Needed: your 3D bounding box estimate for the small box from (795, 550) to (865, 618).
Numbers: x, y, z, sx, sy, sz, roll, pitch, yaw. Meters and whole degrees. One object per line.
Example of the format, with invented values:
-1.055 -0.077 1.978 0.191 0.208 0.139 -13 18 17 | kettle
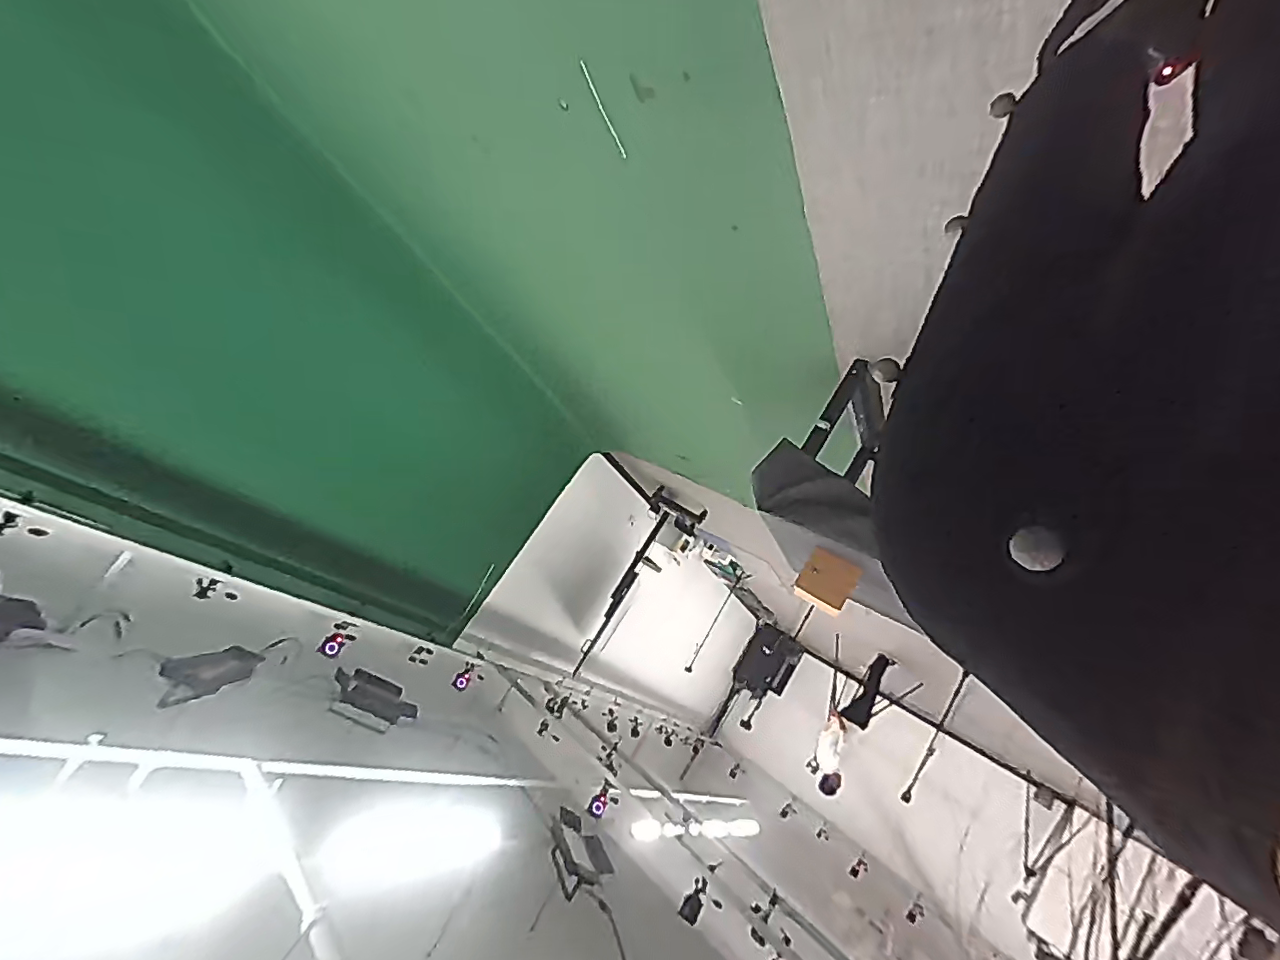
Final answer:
0.675 0.365 1.932 0.179 0.176 0.168 28 168 23 | small box
